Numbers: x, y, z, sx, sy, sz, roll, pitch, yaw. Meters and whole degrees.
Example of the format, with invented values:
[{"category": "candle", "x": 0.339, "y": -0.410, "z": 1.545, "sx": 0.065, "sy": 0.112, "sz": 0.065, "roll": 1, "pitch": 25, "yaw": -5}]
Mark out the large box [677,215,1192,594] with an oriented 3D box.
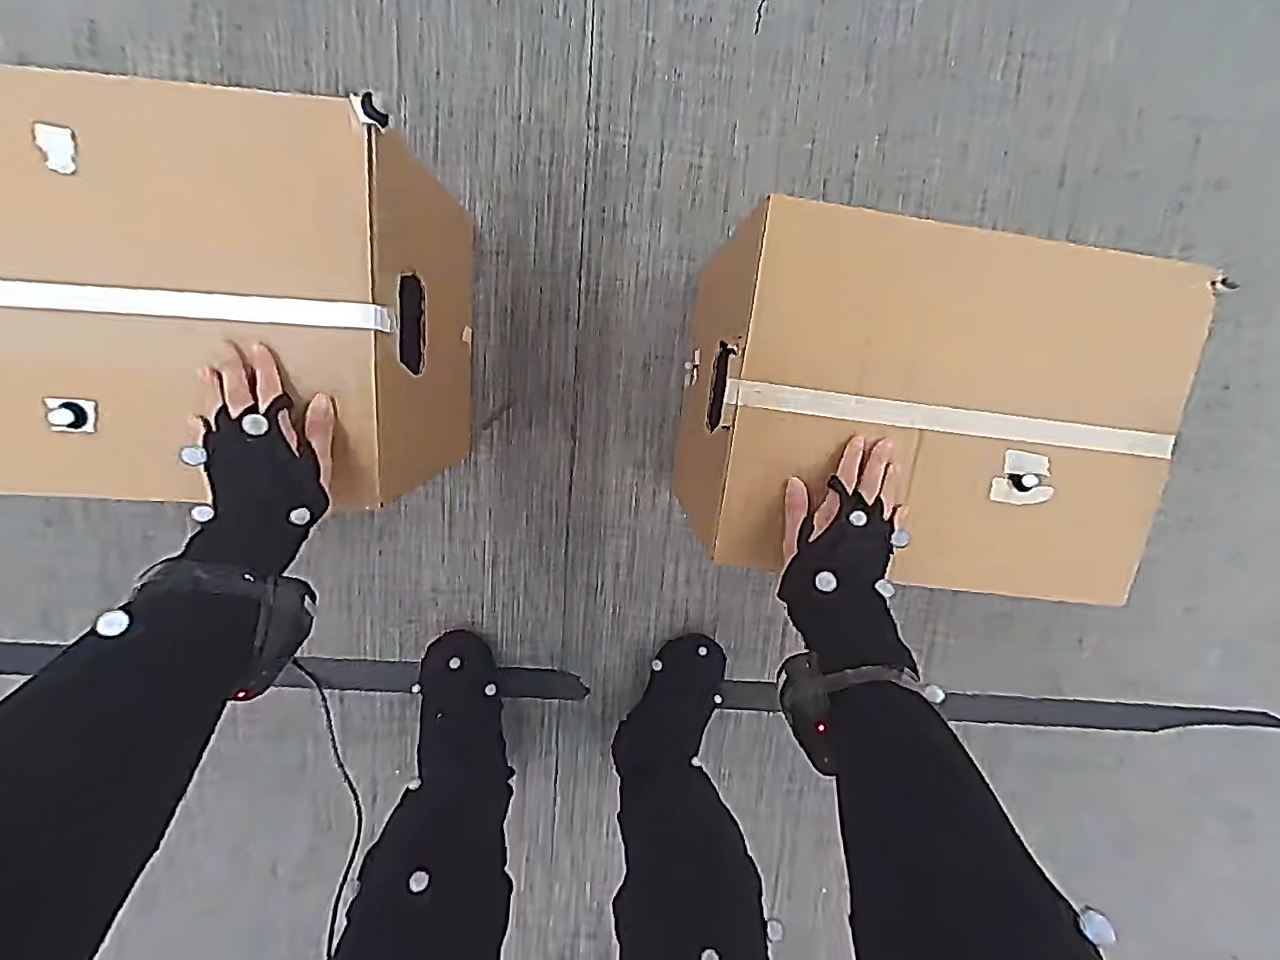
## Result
[{"category": "large box", "x": 0.274, "y": -0.080, "z": 0.639, "sx": 0.408, "sy": 0.320, "sz": 0.320, "roll": 6, "pitch": 100, "yaw": -6}]
